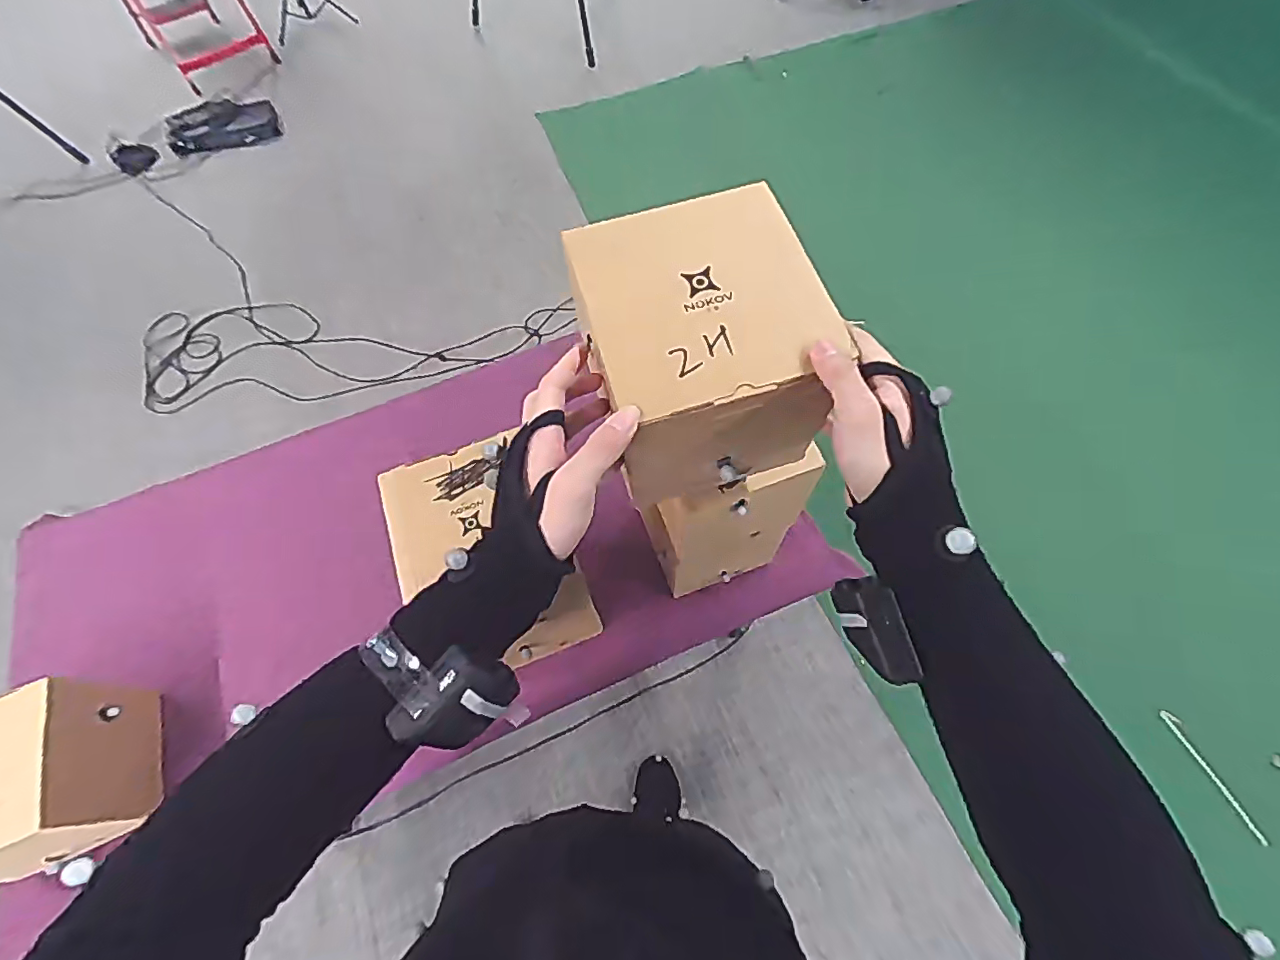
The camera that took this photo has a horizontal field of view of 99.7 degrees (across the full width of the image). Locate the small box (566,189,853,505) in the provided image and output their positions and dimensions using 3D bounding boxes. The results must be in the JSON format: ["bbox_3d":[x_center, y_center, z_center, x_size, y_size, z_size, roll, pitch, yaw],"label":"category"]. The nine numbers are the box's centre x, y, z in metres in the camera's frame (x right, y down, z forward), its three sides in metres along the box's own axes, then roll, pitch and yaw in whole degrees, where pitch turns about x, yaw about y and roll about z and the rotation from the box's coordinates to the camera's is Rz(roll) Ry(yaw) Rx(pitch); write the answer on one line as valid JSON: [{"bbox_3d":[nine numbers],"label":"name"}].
[{"bbox_3d":[0.044,-0.101,0.459,0.168,0.176,0.179,-16,69,-4],"label":"small box"}]

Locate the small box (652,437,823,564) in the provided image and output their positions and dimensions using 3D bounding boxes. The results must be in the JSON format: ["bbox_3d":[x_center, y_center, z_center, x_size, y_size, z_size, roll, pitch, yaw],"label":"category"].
[{"bbox_3d":[0.091,-0.023,0.663,0.168,0.176,0.179,-19,63,-7],"label":"small box"}]

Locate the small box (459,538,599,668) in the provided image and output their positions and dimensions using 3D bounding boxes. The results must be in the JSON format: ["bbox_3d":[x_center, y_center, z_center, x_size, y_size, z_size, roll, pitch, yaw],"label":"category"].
[{"bbox_3d":[-0.167,0.153,0.771,0.168,0.176,0.179,-21,63,-8],"label":"small box"}]

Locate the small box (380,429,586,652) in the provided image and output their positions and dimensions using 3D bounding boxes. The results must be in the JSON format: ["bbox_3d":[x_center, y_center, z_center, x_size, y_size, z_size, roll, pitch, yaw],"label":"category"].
[{"bbox_3d":[-0.172,0.076,0.626,0.168,0.176,0.179,-21,64,-8],"label":"small box"}]

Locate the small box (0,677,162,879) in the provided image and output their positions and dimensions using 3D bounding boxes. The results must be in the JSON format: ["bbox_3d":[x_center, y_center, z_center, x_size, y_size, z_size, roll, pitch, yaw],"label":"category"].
[{"bbox_3d":[-0.746,0.373,0.672,0.168,0.176,0.179,-23,64,-9],"label":"small box"}]
